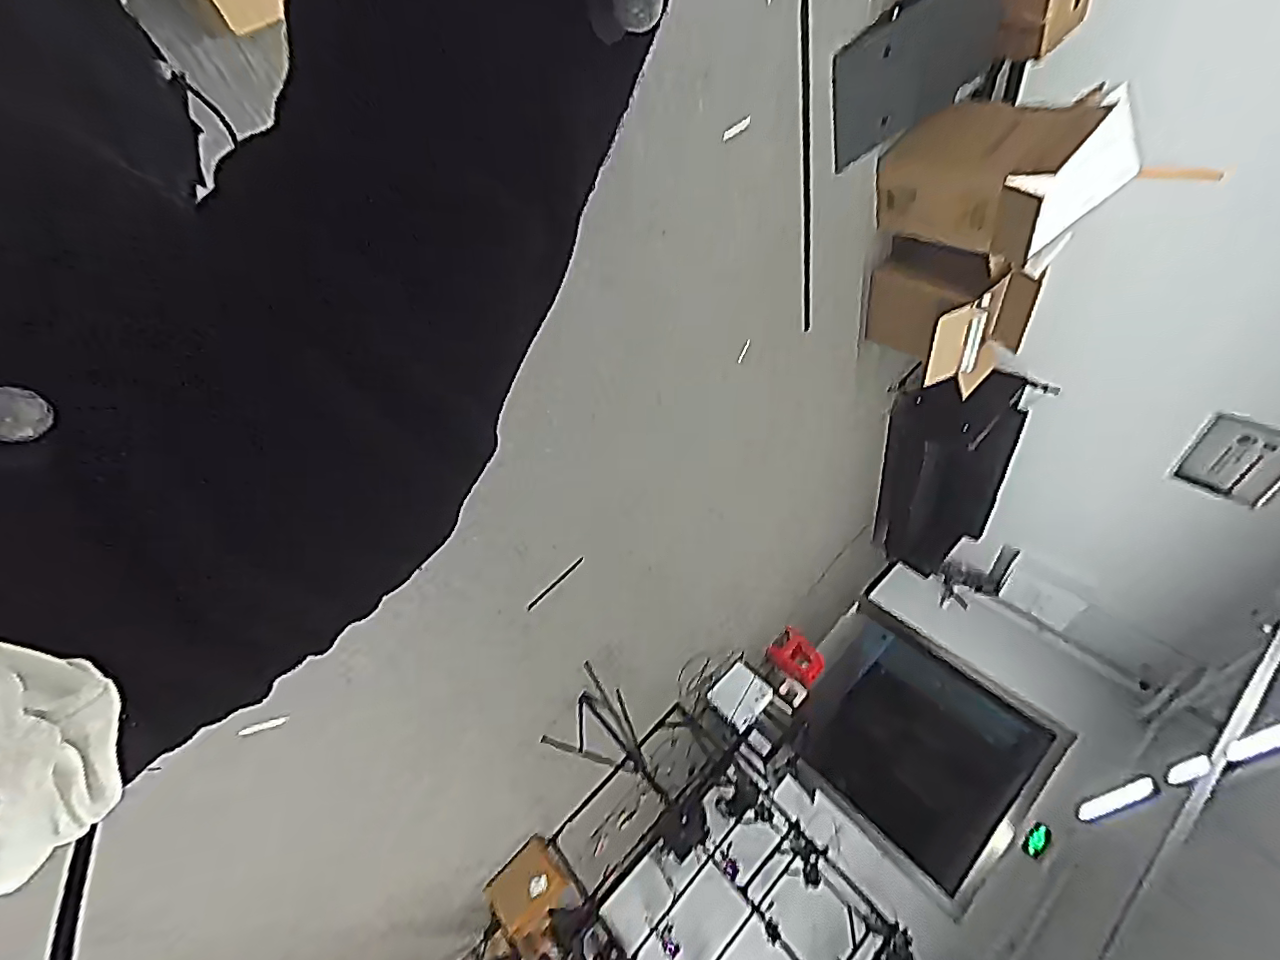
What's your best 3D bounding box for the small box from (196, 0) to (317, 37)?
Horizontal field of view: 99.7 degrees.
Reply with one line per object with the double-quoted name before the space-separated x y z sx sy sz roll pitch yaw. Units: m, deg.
"small box" -0.752 -0.960 1.005 0.179 0.176 0.168 -42 142 -15
